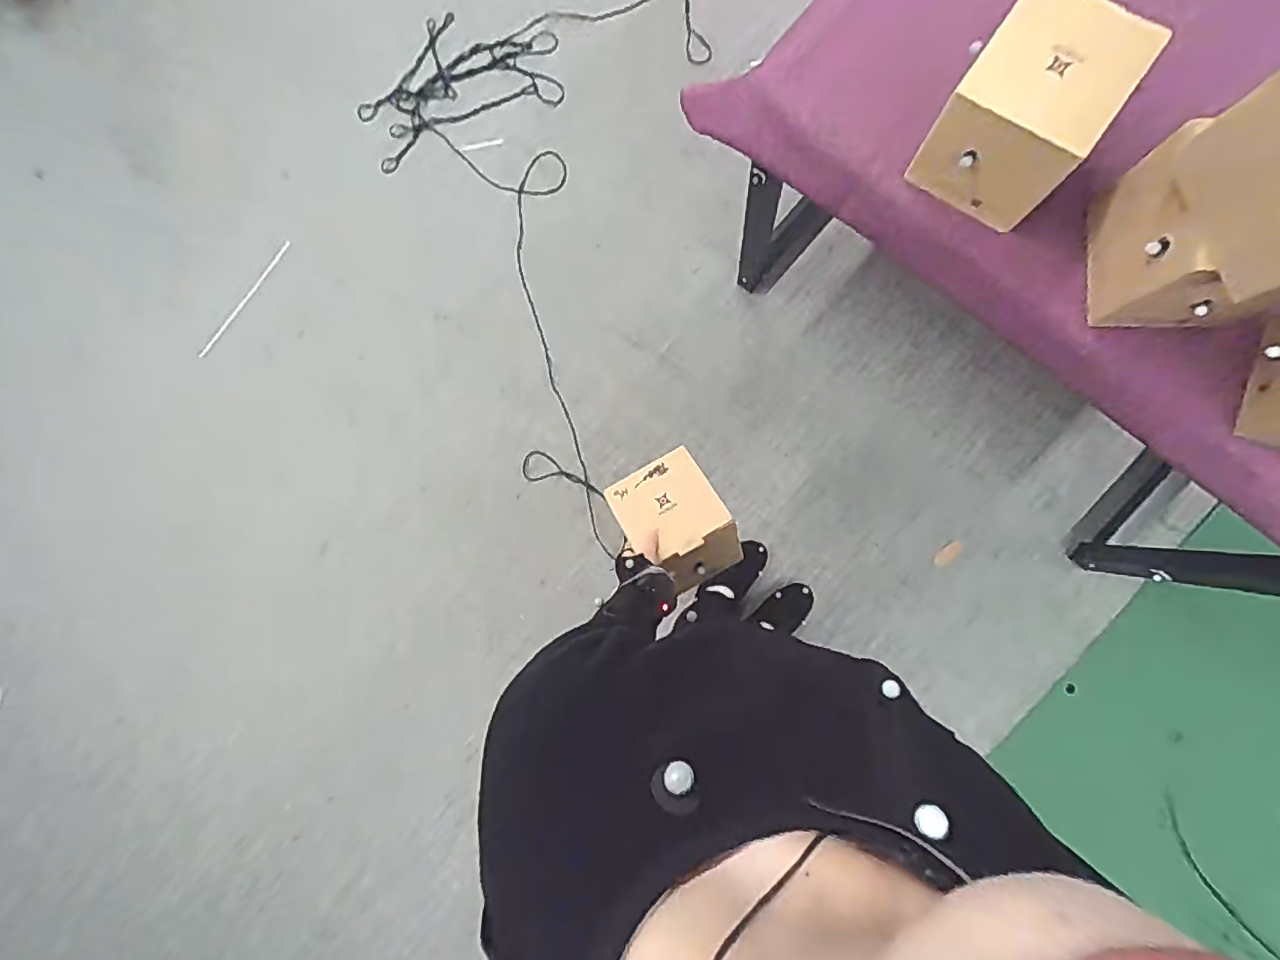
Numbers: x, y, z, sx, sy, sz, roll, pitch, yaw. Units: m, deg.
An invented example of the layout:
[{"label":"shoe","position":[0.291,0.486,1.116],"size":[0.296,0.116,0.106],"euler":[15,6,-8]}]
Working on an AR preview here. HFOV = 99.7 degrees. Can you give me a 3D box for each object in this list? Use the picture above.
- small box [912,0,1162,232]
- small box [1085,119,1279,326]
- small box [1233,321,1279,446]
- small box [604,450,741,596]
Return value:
[{"label":"small box","position":[0.486,-0.464,0.699],"size":[0.168,0.176,0.179],"euler":[34,89,9]},{"label":"small box","position":[0.686,-0.298,0.658],"size":[0.168,0.176,0.179],"euler":[3,85,7]},{"label":"small box","position":[0.872,-0.118,0.621],"size":[0.179,0.176,0.168],"euler":[19,86,9]},{"label":"small box","position":[0.064,0.085,0.953],"size":[0.168,0.176,0.179],"euler":[-29,57,-2]}]
